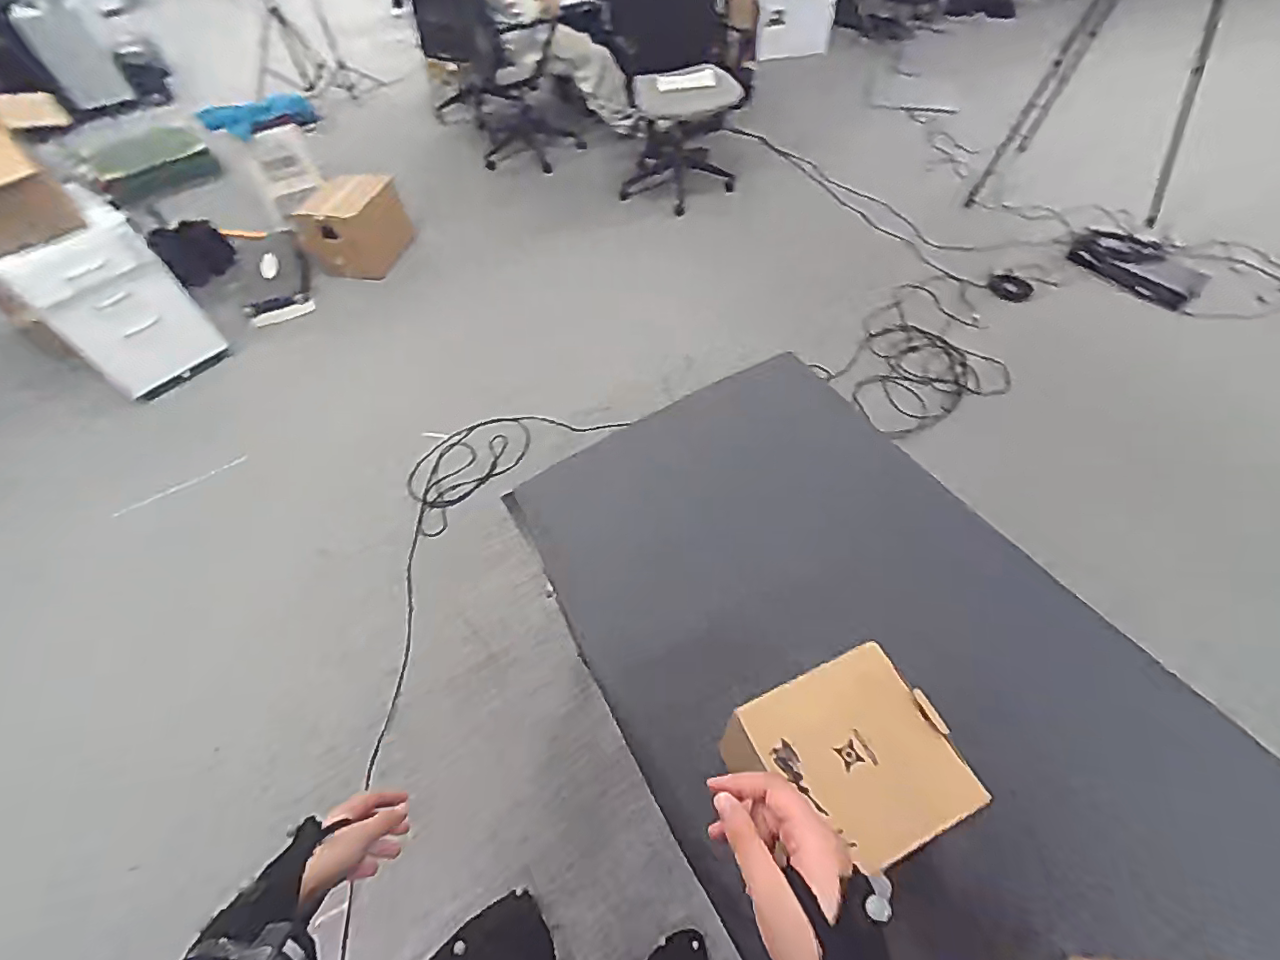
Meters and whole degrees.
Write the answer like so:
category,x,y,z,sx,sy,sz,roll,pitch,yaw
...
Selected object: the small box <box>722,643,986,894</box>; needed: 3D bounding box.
category,x,y,z,sx,sy,sz,roll,pitch,yaw
small box,0.206,0.307,0.577,0.179,0.176,0.168,-19,54,-14
